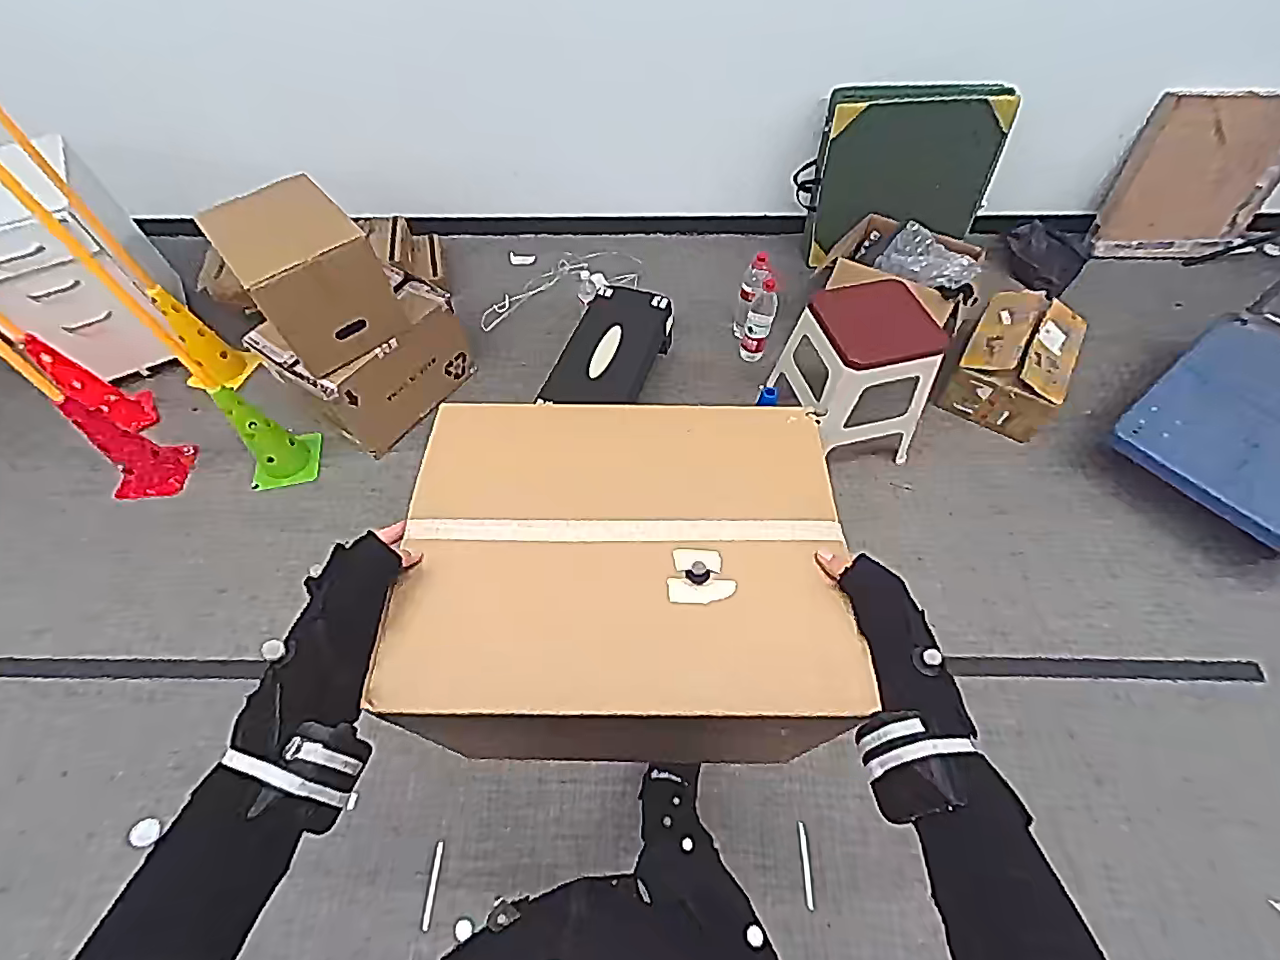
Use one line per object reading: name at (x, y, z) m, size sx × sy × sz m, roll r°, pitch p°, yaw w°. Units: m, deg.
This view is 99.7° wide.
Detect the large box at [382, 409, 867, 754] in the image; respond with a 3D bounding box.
large box at (-0.015, 0.131, 0.642) m, size 0.408 × 0.320 × 0.320 m, roll 1°, pitch 57°, yaw 0°
